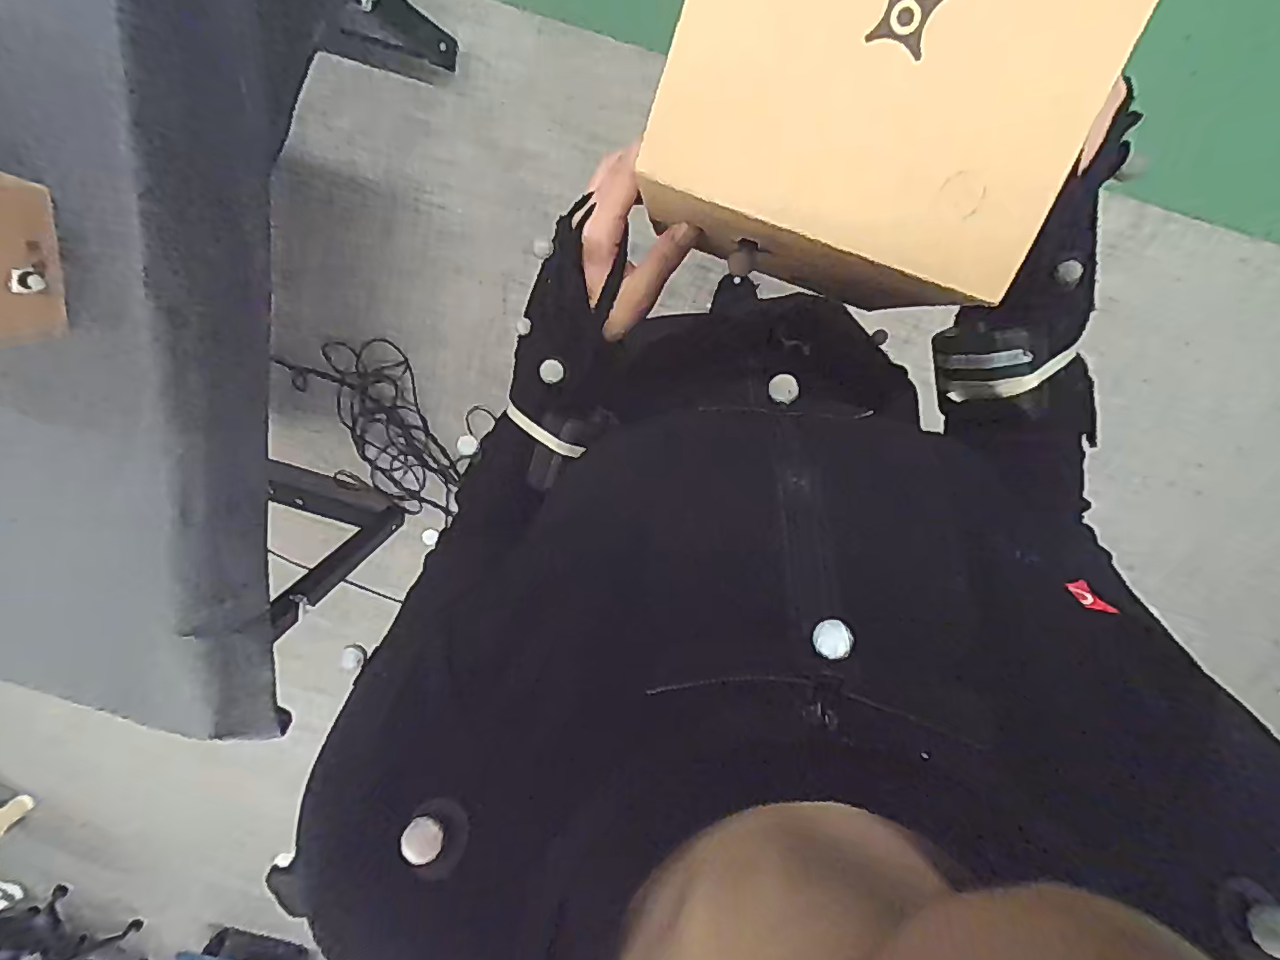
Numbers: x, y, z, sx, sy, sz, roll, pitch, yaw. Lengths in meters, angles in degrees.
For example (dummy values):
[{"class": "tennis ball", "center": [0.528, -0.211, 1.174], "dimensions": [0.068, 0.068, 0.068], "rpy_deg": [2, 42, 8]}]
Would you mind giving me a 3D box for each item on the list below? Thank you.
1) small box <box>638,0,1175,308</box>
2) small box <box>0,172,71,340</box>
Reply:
[{"class": "small box", "center": [0.111, -0.197, 0.273], "dimensions": [0.168, 0.176, 0.179], "rpy_deg": [20, 106, 0]}, {"class": "small box", "center": [-0.741, -0.236, 0.534], "dimensions": [0.179, 0.176, 0.168], "rpy_deg": [18, 115, -1]}]
